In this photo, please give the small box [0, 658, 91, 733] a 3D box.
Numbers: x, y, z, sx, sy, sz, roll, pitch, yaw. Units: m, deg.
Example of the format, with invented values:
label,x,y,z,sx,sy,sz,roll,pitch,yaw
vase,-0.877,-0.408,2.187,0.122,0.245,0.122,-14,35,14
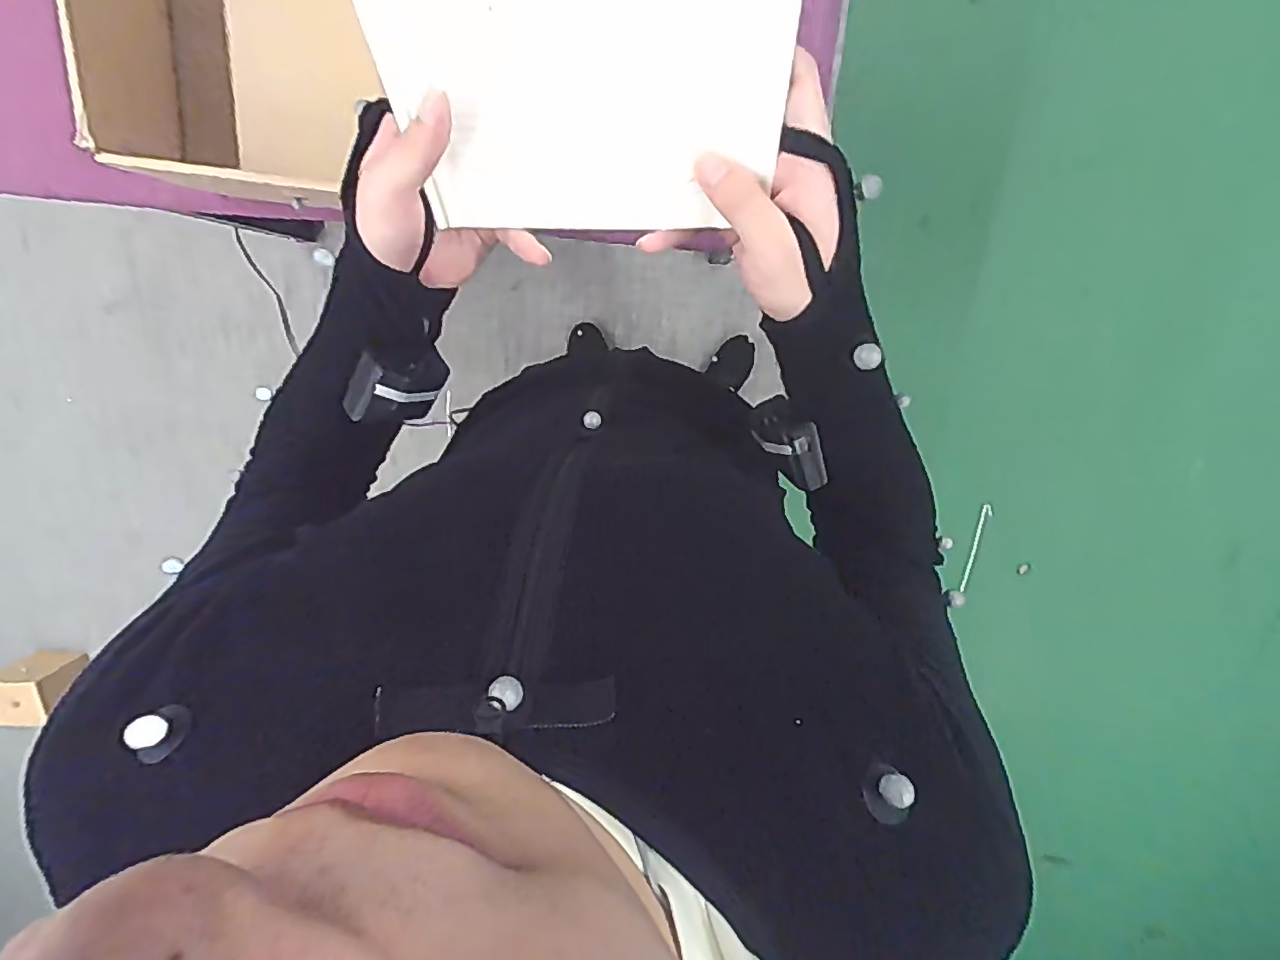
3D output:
label,x,y,z,sx,sy,sz,roll,pitch,yaw
small box,-1.978,0.707,1.784,0.179,0.176,0.168,1,105,1
